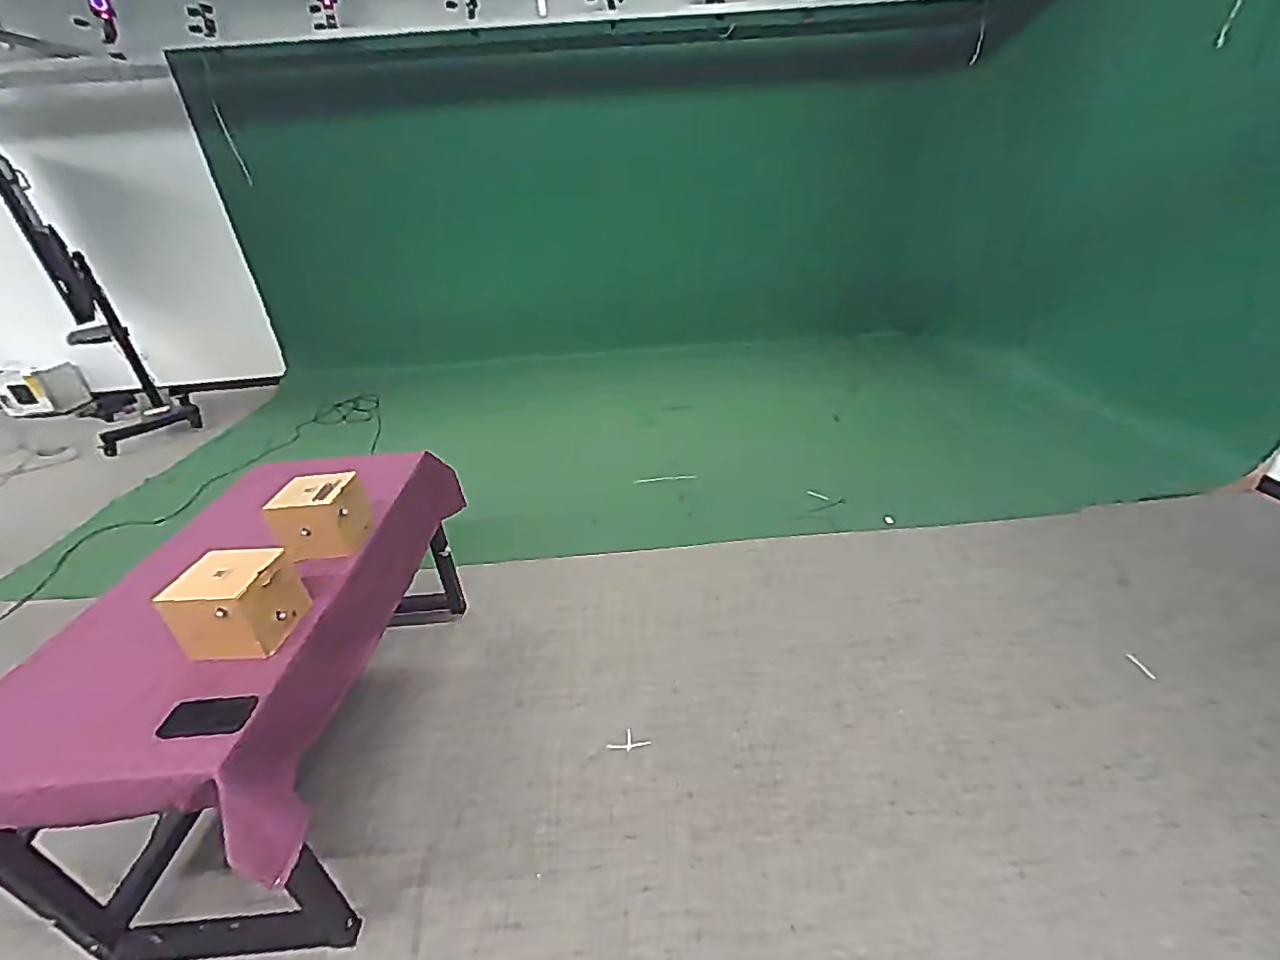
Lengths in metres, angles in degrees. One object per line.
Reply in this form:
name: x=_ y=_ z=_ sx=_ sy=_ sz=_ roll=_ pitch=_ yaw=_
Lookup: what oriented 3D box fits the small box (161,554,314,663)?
small box: x=-0.854 y=0.278 z=1.168 sx=0.179 sy=0.176 sz=0.168 roll=-3 pitch=29 yaw=3
